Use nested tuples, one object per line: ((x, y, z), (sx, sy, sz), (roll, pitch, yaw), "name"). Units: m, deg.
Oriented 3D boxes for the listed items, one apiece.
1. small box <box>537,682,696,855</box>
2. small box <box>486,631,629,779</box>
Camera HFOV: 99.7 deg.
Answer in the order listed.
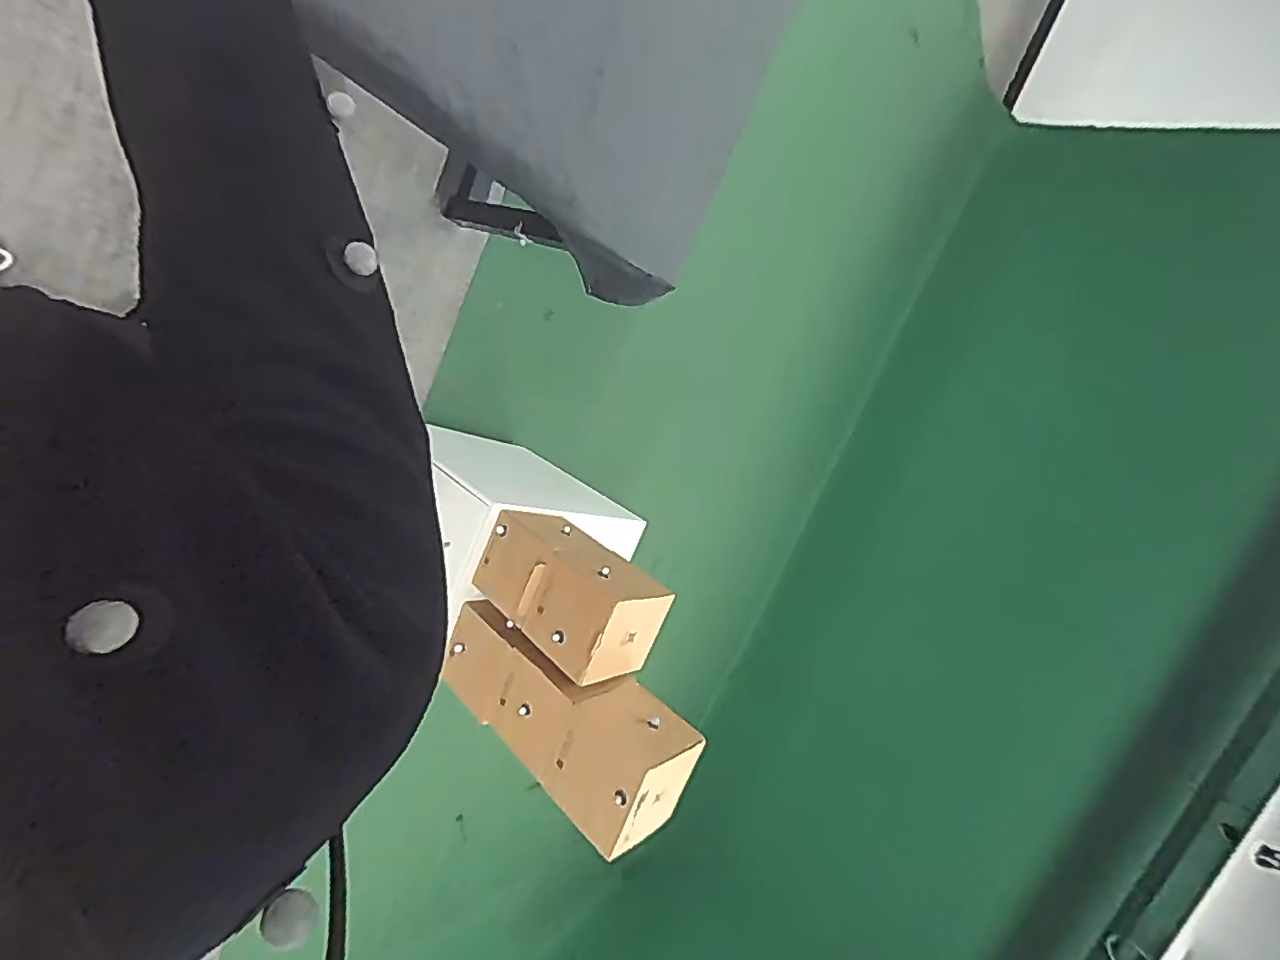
((-0.039, 0.470, 0.917), (0.179, 0.176, 0.168), (10, 104, -55), "small box")
((-0.158, 0.406, 1.009), (0.179, 0.176, 0.168), (6, 108, -53), "small box")
